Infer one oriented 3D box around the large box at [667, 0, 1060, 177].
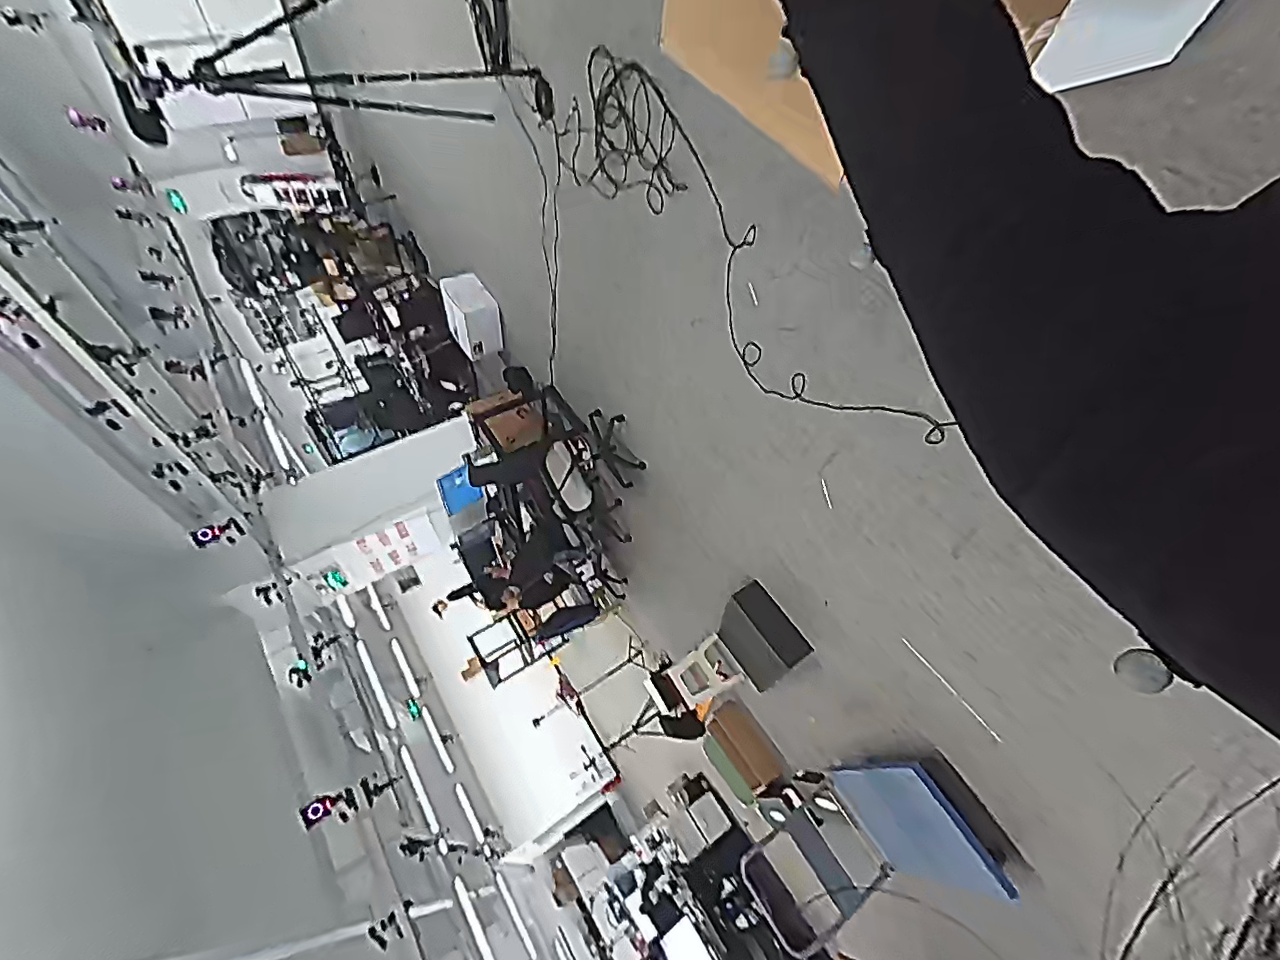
[{"bbox_3d":[0.290,-0.667,0.694,0.408,0.320,0.320,54,155,23],"label":"large box"}]
